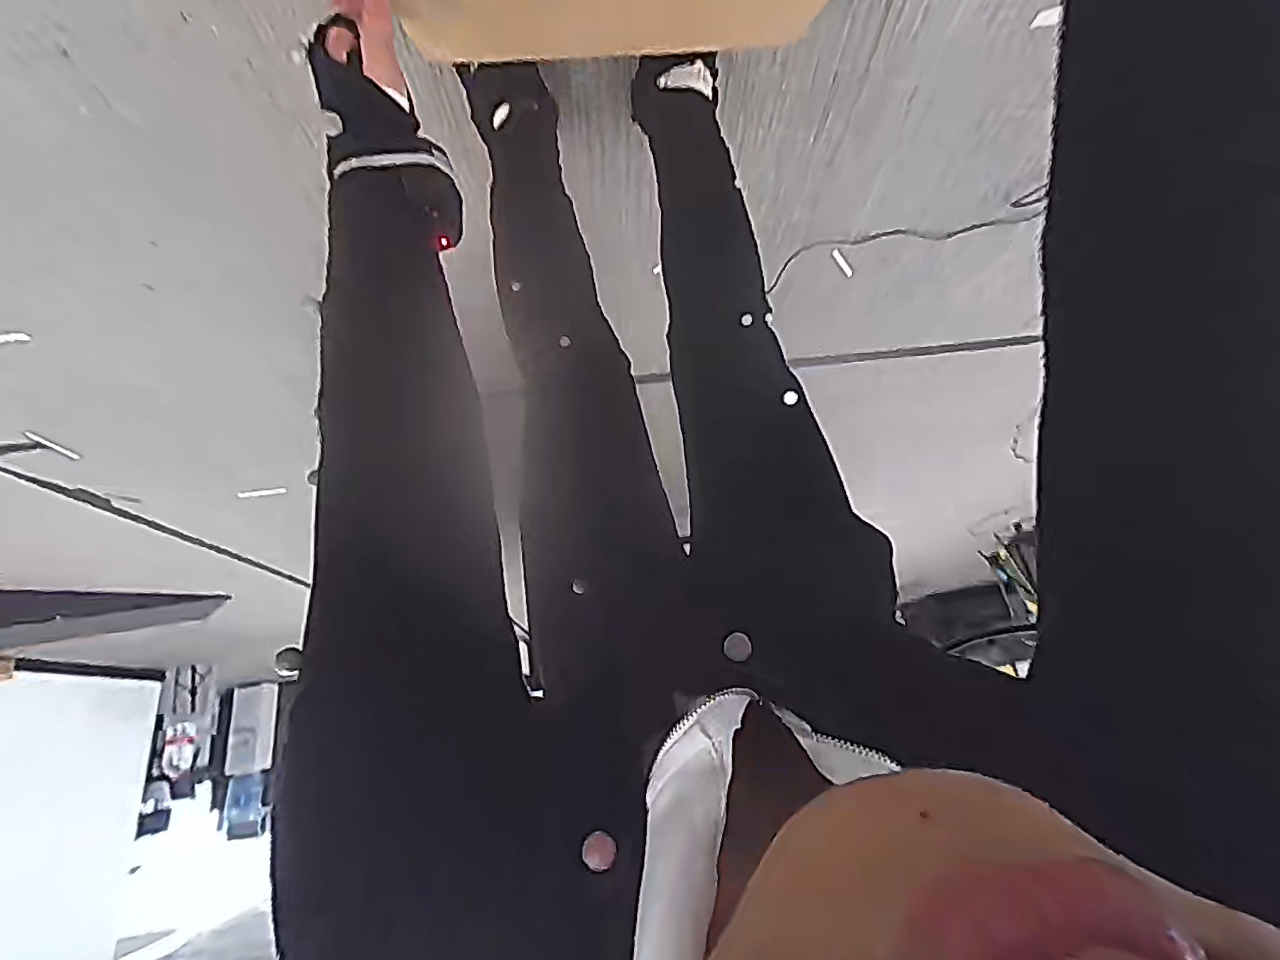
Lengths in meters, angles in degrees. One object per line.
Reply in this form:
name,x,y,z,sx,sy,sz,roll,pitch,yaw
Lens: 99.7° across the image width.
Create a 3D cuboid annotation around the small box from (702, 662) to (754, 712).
small box,0.355,0.849,2.222,0.168,0.176,0.179,-8,156,-4
